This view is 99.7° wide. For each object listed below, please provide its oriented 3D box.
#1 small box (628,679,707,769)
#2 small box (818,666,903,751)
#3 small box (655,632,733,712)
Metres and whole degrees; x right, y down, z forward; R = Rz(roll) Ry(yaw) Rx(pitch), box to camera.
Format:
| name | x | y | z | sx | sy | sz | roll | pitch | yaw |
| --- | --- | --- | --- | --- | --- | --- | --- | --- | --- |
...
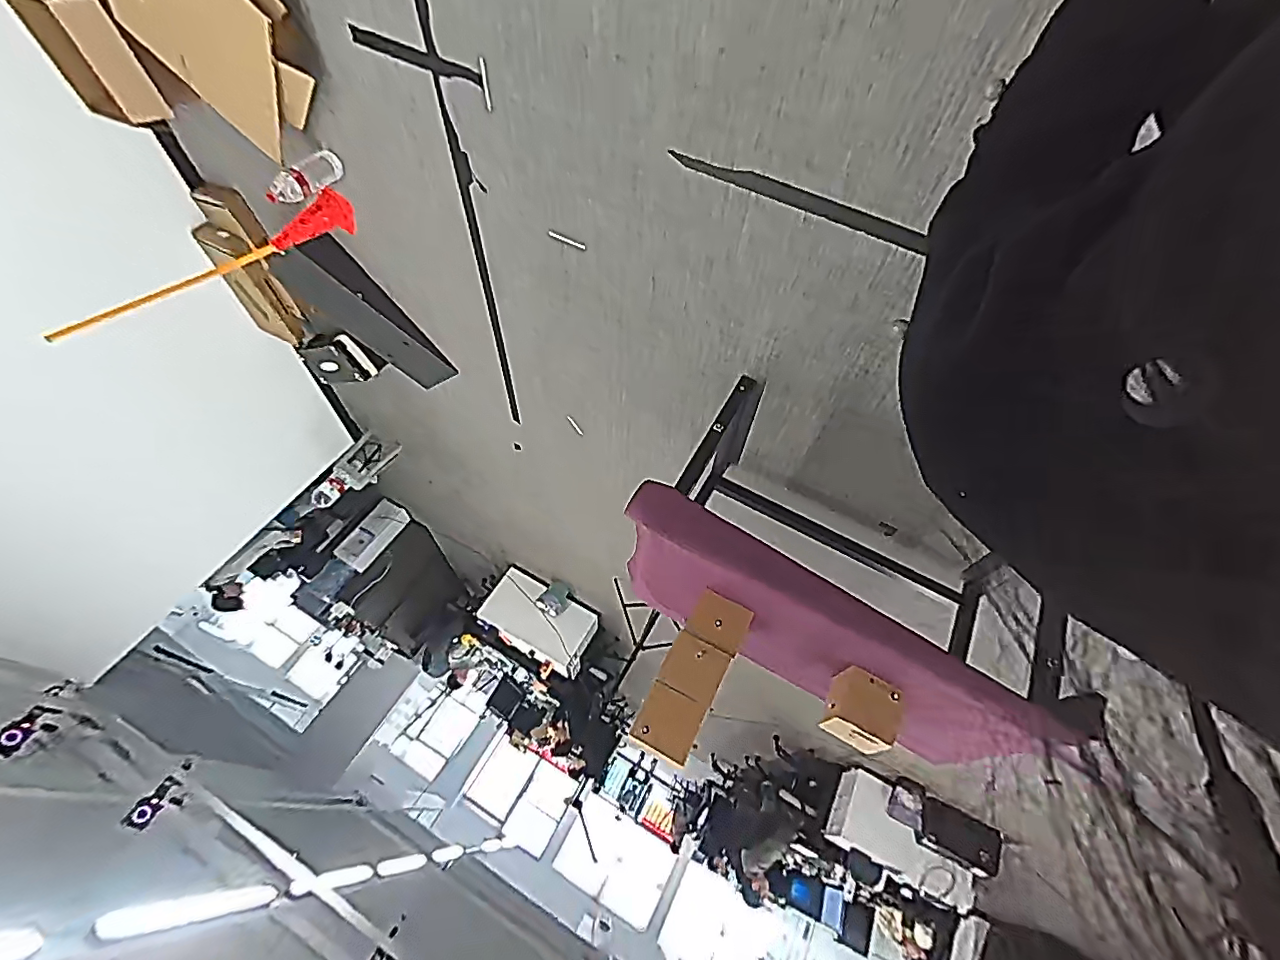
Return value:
| name | x | y | z | sx | sy | sz | roll | pitch | yaw |
| --- | --- | --- | --- | --- | --- | --- | --- | --- | --- |
| small box | 0.081 | 0.705 | 1.565 | 0.179 | 0.176 | 0.168 | 24 | 150 | 16 |
| small box | 0.662 | 0.680 | 1.617 | 0.168 | 0.176 | 0.179 | 27 | 151 | 13 |
| small box | 0.159 | 0.582 | 1.638 | 0.179 | 0.176 | 0.168 | 25 | 150 | 17 |
